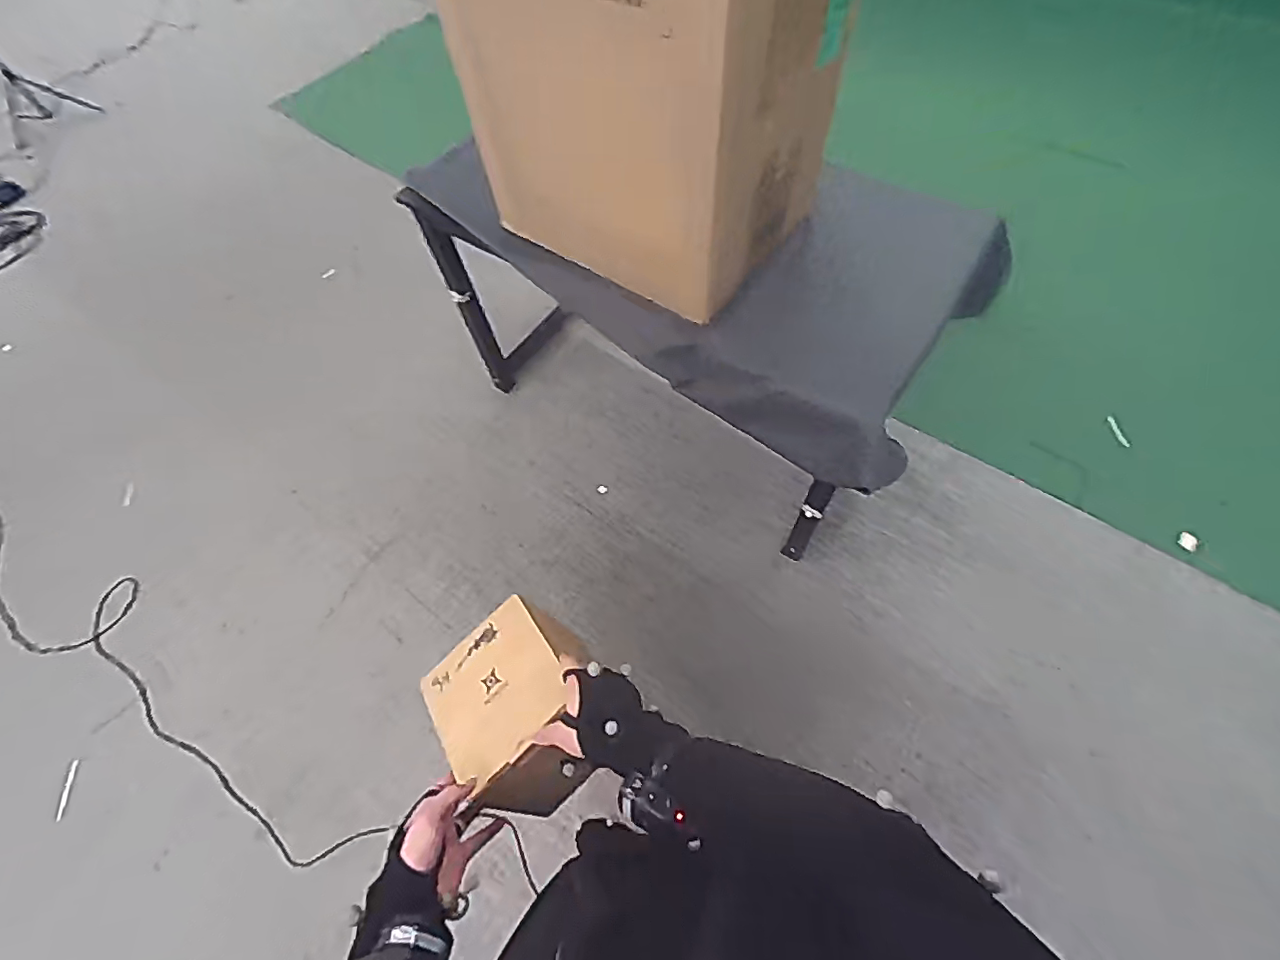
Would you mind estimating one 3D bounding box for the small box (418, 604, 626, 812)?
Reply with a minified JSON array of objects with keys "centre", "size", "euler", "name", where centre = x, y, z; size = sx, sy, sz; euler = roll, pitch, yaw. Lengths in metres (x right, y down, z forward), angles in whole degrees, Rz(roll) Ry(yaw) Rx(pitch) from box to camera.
[{"centre":[-0.146,0.299,0.704],"size":[0.168,0.176,0.179],"euler":[-43,48,-5],"name":"small box"}]
